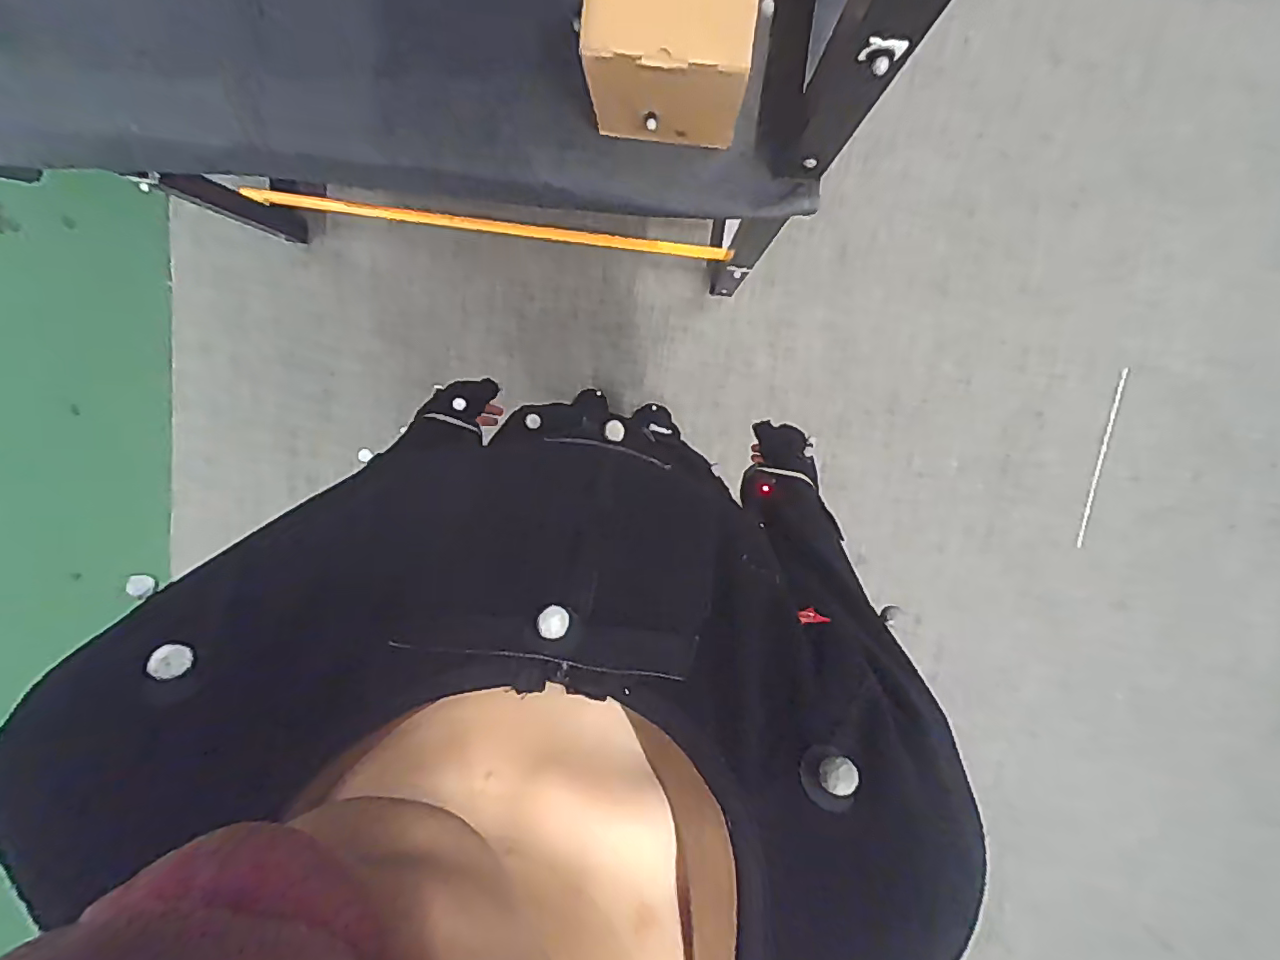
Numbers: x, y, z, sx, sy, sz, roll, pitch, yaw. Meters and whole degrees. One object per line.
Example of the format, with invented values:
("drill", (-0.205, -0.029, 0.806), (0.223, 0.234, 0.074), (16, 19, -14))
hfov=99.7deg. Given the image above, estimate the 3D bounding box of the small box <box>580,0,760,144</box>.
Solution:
("small box", (0.037, -0.497, 0.574), (0.168, 0.176, 0.179), (8, 99, 2))
